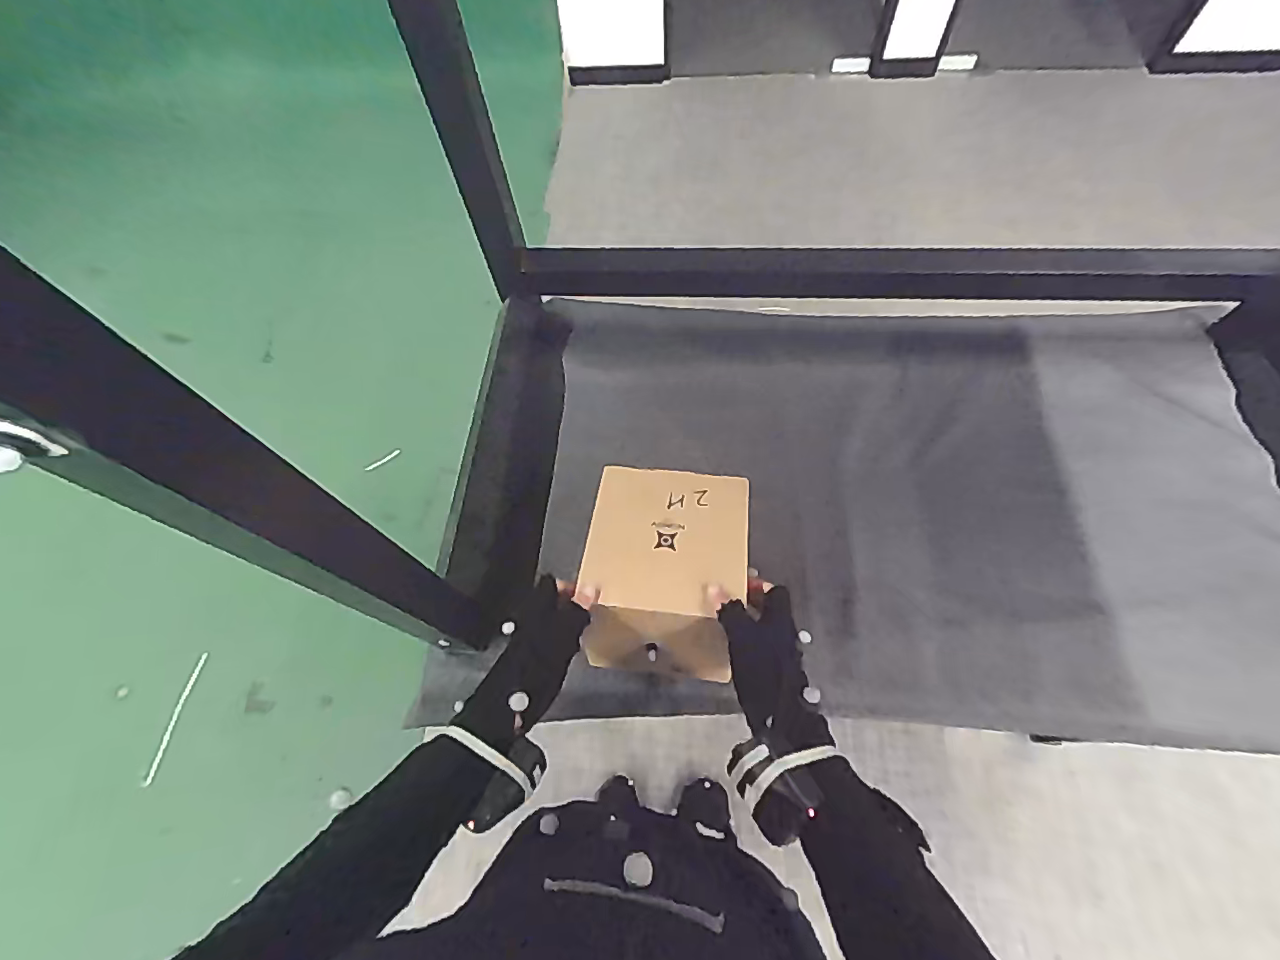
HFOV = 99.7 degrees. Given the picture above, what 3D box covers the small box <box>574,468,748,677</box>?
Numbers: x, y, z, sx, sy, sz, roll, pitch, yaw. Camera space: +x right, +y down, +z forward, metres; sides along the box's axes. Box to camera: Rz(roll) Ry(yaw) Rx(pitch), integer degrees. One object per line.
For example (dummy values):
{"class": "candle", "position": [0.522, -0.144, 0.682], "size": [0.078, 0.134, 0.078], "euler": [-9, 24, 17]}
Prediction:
{"class": "small box", "position": [0.031, 0.110, 0.625], "size": [0.168, 0.176, 0.179], "euler": [6, 51, 6]}
